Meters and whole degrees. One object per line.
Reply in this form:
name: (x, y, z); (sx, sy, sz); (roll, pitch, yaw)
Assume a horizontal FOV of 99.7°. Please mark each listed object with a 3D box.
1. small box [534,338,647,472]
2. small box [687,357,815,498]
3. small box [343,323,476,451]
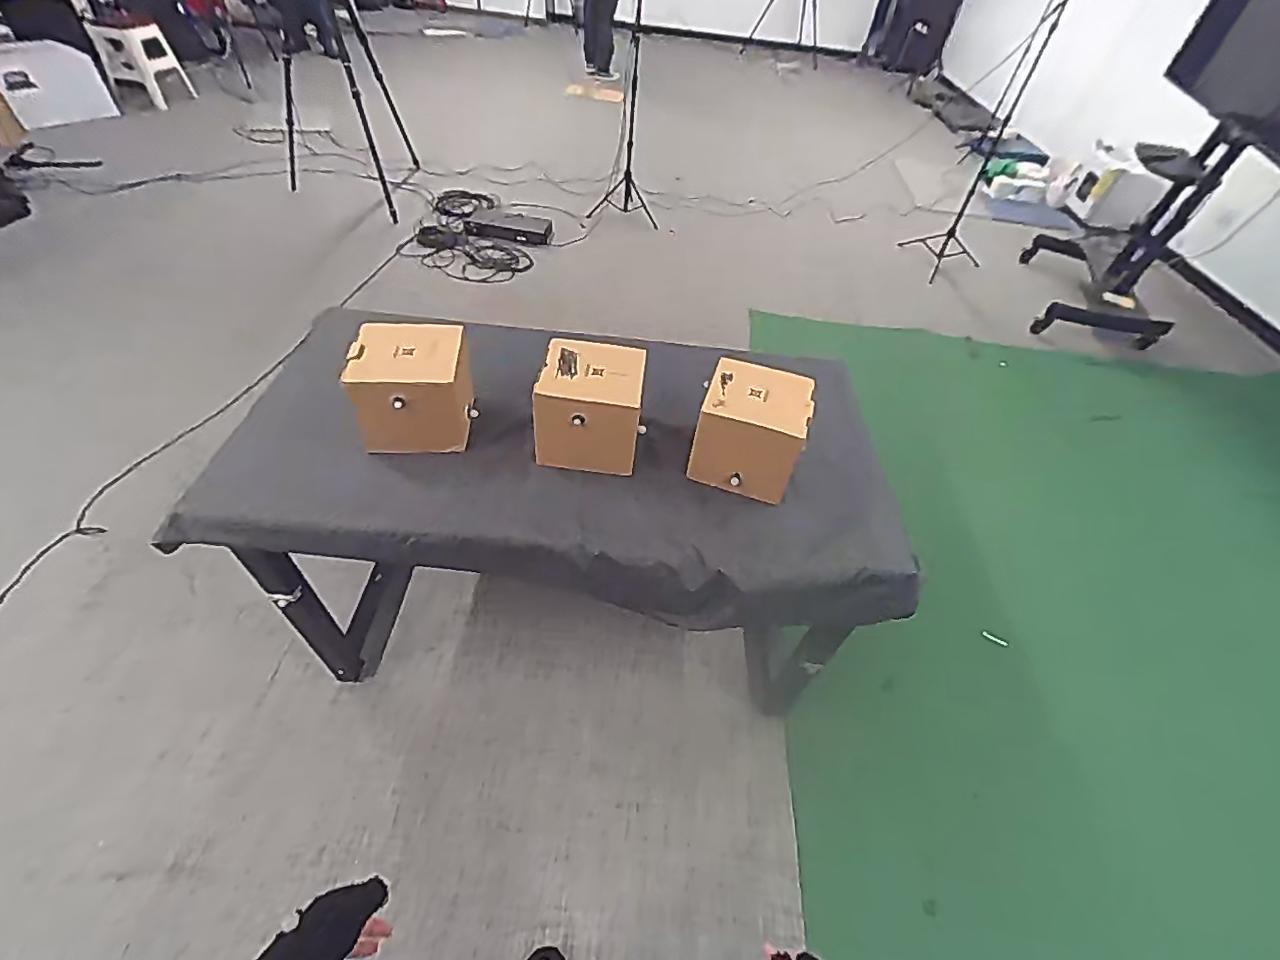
small box: (-0.087, -0.133, 0.986); (0.179, 0.176, 0.168); (7, 48, -1)
small box: (0.198, -0.091, 0.984); (0.179, 0.176, 0.168); (17, 49, 8)
small box: (-0.402, -0.165, 0.977); (0.179, 0.176, 0.168); (-1, 50, -9)
